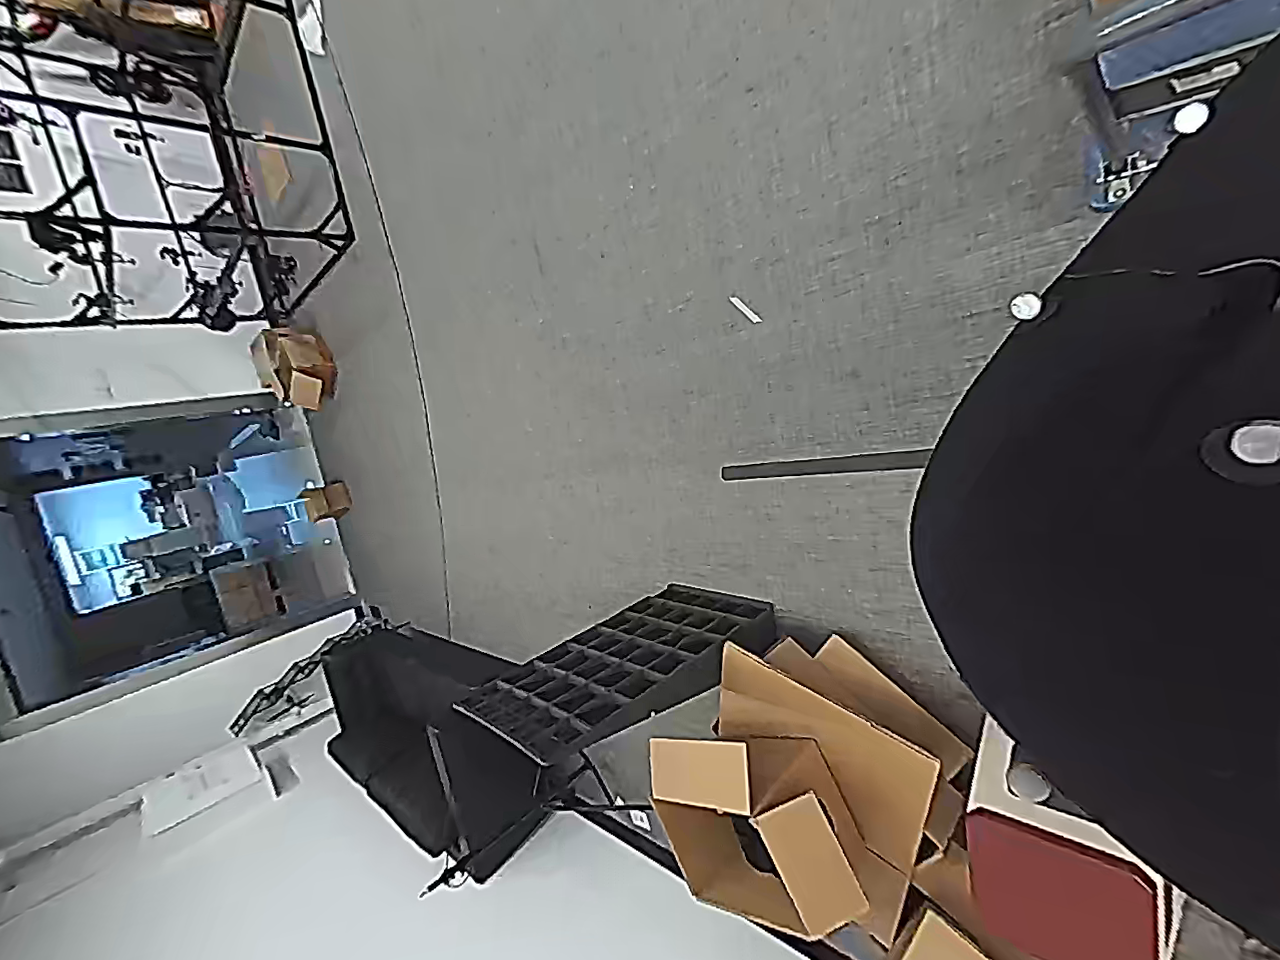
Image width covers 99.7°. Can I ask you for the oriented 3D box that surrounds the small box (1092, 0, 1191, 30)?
[{"bbox_3d":[0.766,-0.799,0.775,0.179,0.176,0.168,7,109,43],"label":"small box"}]
